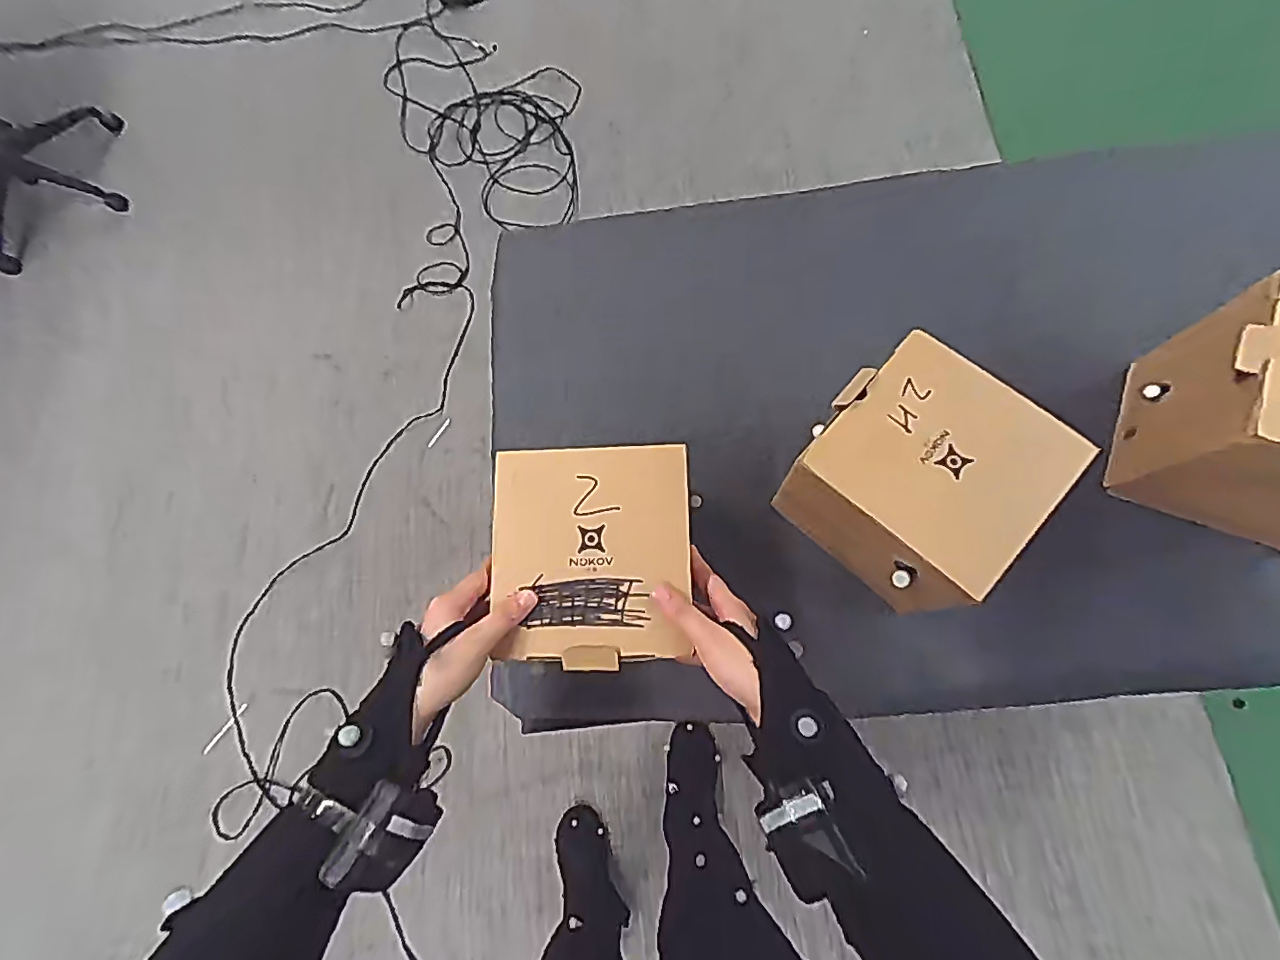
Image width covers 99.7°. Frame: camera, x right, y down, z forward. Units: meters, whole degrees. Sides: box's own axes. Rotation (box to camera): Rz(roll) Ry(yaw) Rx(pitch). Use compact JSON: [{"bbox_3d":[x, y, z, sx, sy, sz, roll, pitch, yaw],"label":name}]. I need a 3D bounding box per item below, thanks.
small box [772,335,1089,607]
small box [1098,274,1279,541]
[{"bbox_3d":[0.252,0.004,0.520,0.179,0.176,0.168,41,81,15],"label":"small box"},{"bbox_3d":[0.591,-0.053,0.503,0.179,0.176,0.168,21,77,12],"label":"small box"}]
